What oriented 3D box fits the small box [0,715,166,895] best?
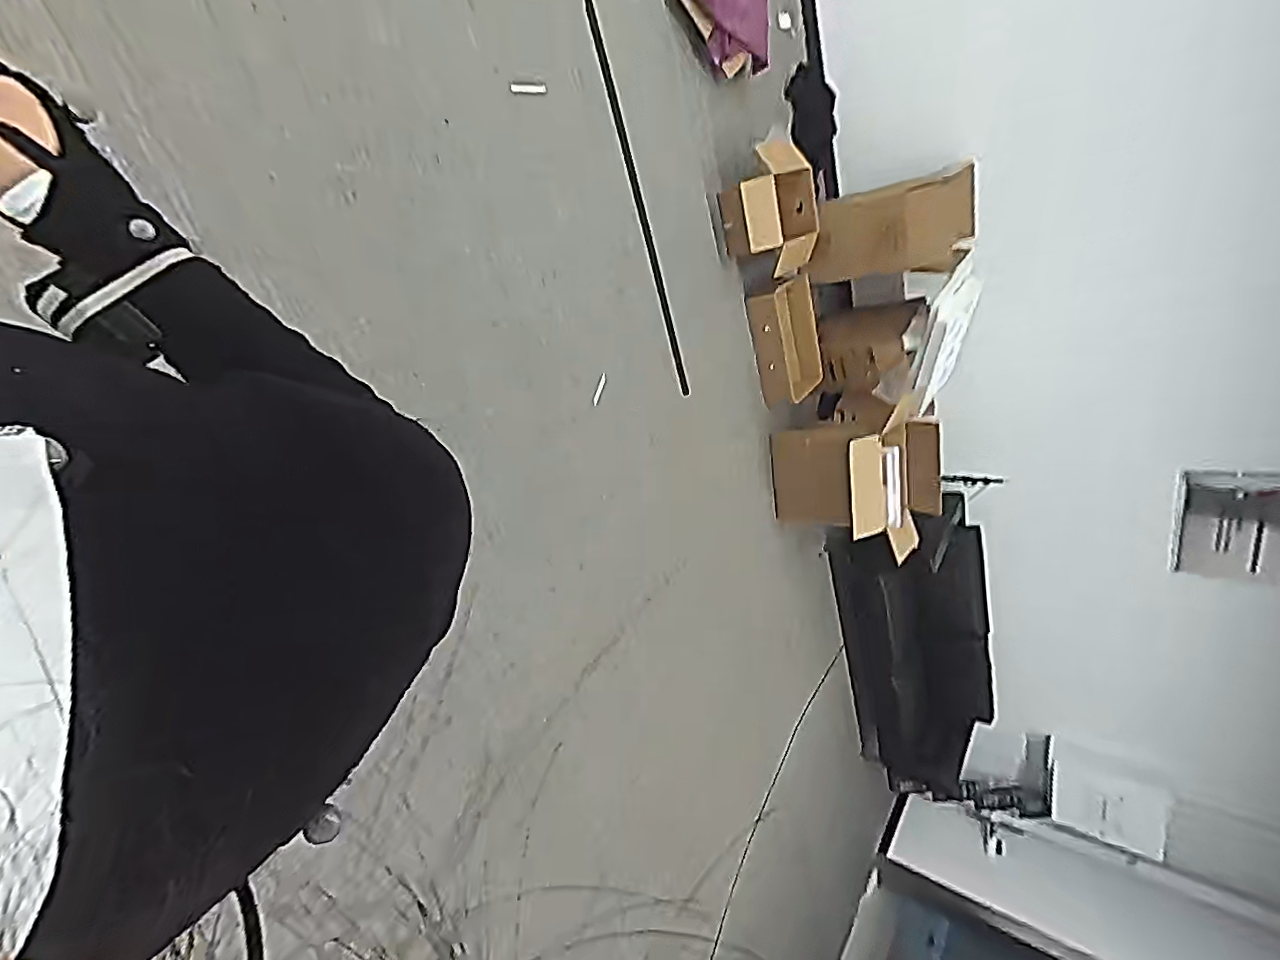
[{"bbox_3d":[-0.936,0.513,0.889,0.168,0.176,0.179,-40,121,-40],"label":"small box"}]
